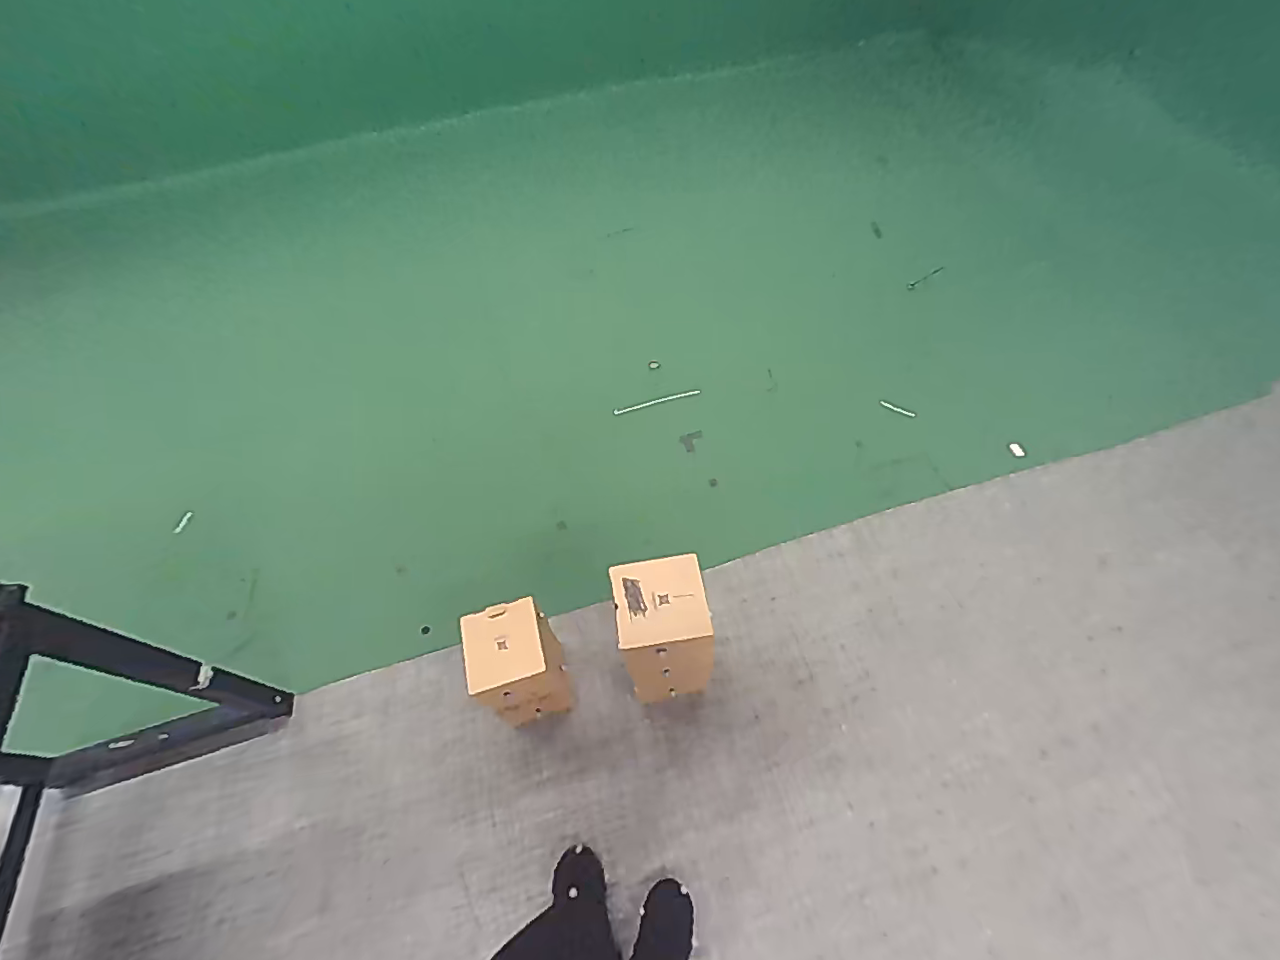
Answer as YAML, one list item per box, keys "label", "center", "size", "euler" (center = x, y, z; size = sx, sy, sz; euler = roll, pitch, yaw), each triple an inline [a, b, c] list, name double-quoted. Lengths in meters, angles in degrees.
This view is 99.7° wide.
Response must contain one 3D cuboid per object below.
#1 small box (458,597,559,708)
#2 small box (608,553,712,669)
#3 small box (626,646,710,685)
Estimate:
- label: "small box"
  center: [-0.290, 0.393, 1.209]
  size: [0.168, 0.176, 0.179]
  euler: [-17, 56, -6]
- label: "small box"
  center: [0.039, 0.264, 1.069]
  size: [0.179, 0.176, 0.168]
  euler: [-9, 57, -2]
- label: "small box"
  center: [0.056, 0.351, 1.208]
  size: [0.179, 0.176, 0.168]
  euler: [-7, 58, 0]
